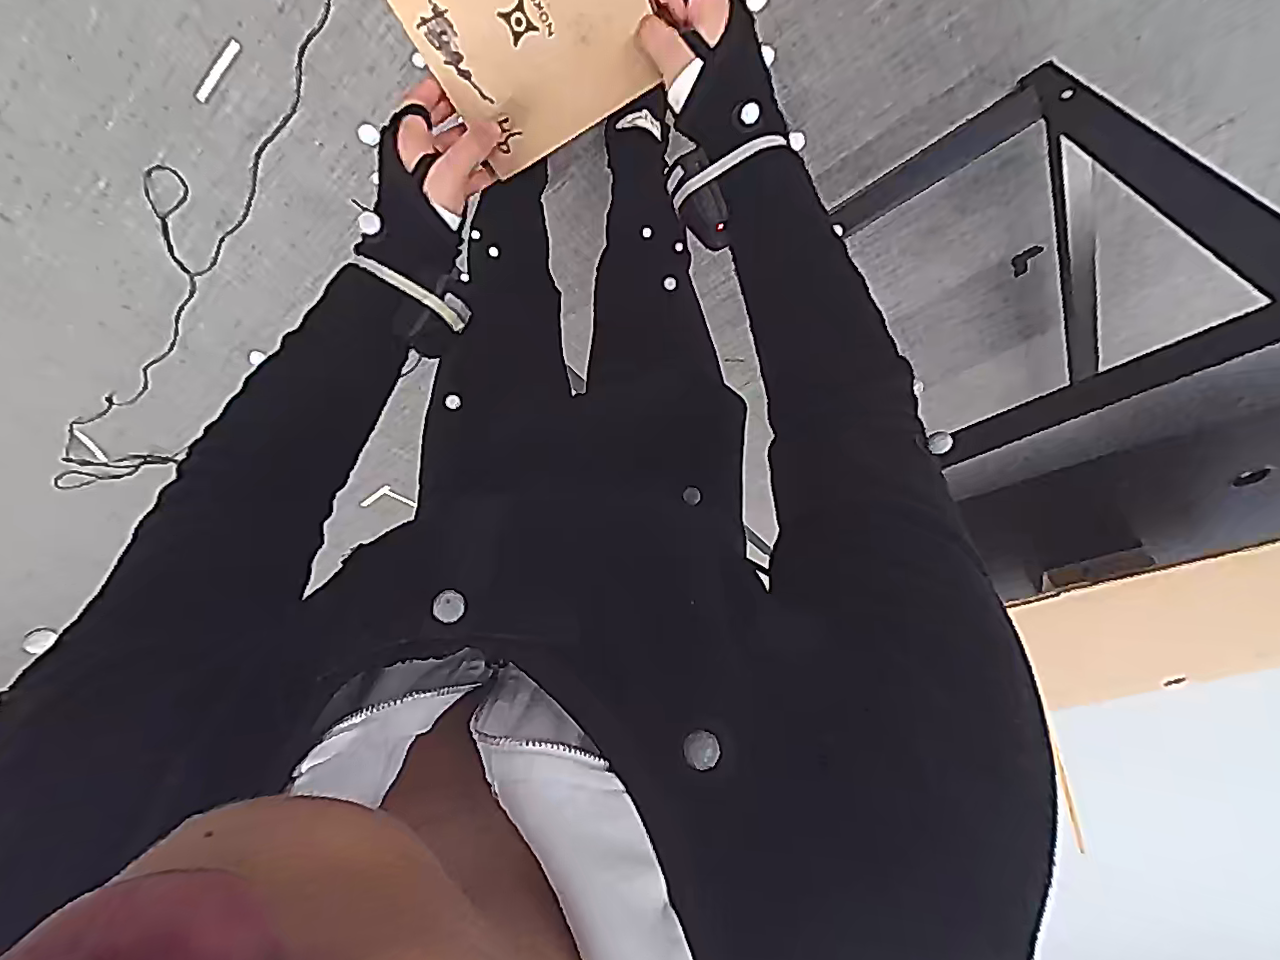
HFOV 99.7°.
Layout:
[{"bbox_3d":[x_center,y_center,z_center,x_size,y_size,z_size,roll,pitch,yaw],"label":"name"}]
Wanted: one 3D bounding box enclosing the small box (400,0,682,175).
[{"bbox_3d":[-0.083,-0.410,0.470,0.179,0.176,0.168,-23,131,16],"label":"small box"}]
